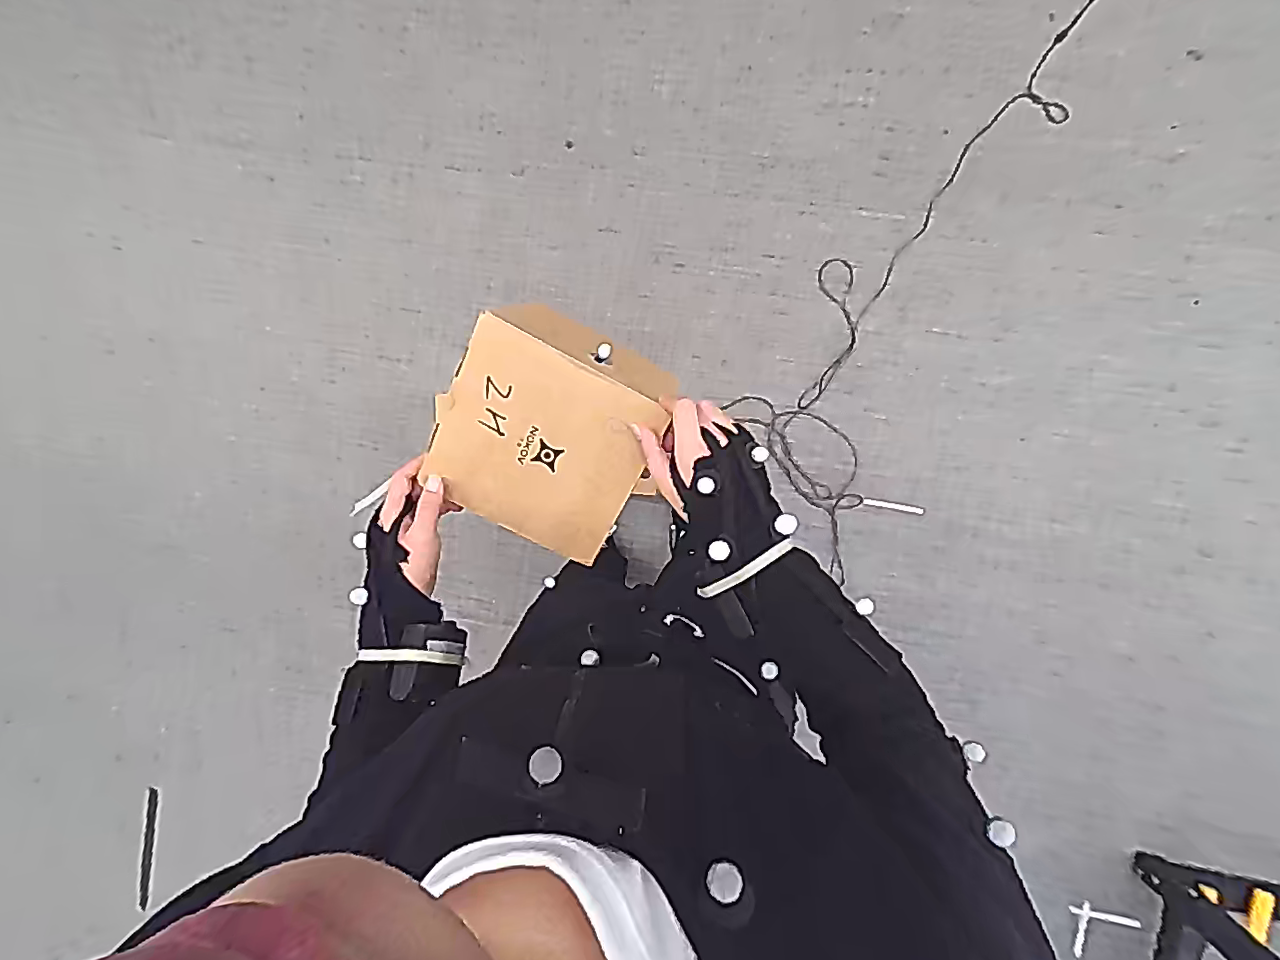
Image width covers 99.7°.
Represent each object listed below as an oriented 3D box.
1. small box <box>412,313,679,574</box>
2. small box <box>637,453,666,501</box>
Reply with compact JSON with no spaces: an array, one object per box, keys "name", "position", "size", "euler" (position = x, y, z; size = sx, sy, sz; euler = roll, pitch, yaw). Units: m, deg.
[{"name":"small box","position":[-0.075,-0.048,0.517],"size":[0.179,0.176,0.168],"euler":[28,109,-6]},{"name":"small box","position":[-0.029,-0.050,1.270],"size":[0.168,0.176,0.179],"euler":[5,93,7]}]
